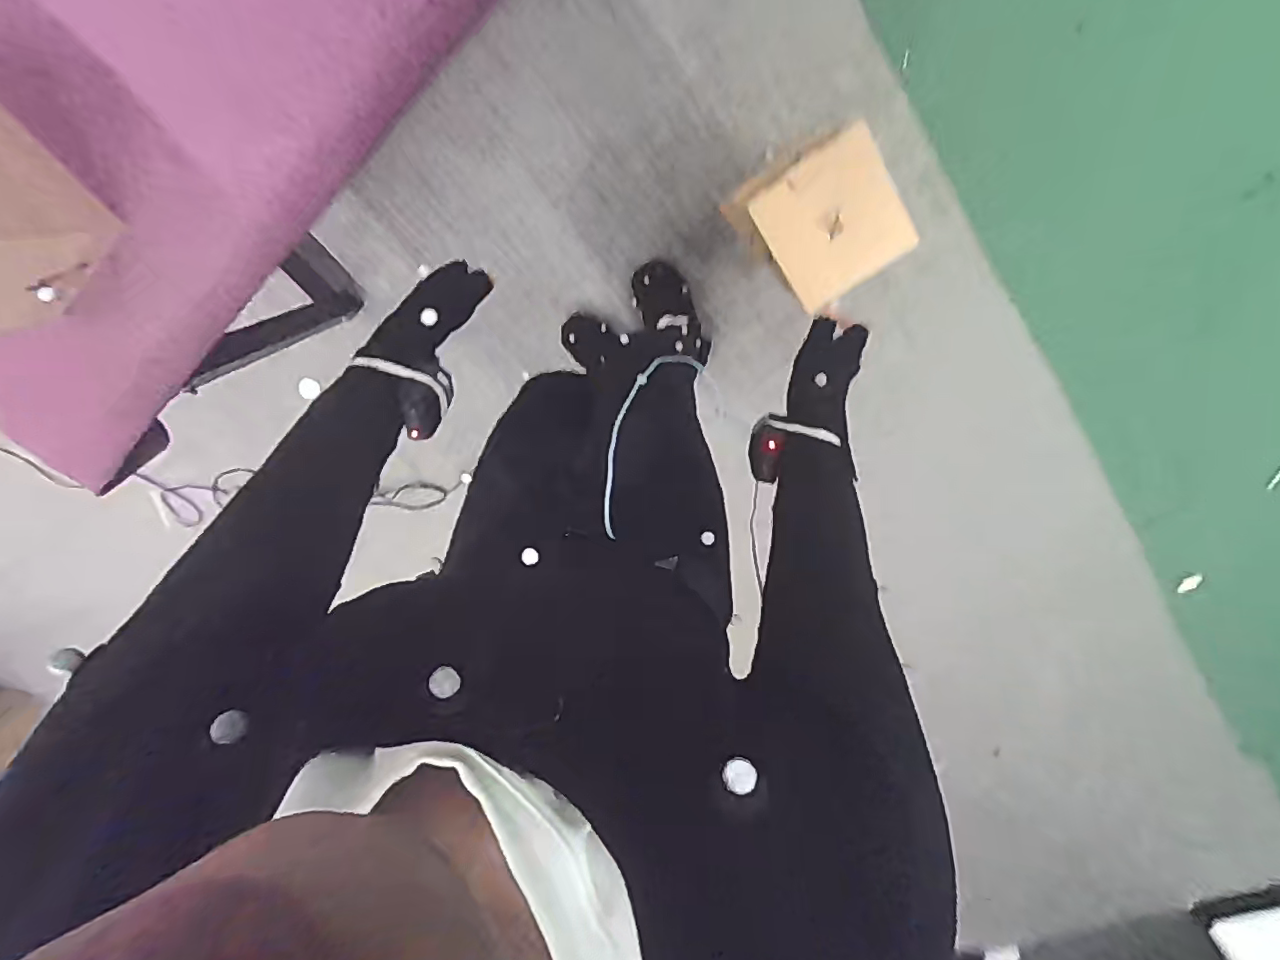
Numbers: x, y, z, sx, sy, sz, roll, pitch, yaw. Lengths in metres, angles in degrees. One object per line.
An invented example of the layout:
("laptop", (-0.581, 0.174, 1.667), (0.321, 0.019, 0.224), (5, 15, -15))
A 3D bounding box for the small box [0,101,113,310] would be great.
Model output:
("small box", (-0.648, -0.253, 0.472), (0.168, 0.176, 0.179), (-29, 114, 19))

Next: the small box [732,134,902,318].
("small box", (0.251, -0.376, 0.801), (0.168, 0.176, 0.179), (-30, 113, 19))

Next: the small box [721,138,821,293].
("small box", (0.254, -0.460, 0.941), (0.168, 0.176, 0.179), (-29, 113, 19))
